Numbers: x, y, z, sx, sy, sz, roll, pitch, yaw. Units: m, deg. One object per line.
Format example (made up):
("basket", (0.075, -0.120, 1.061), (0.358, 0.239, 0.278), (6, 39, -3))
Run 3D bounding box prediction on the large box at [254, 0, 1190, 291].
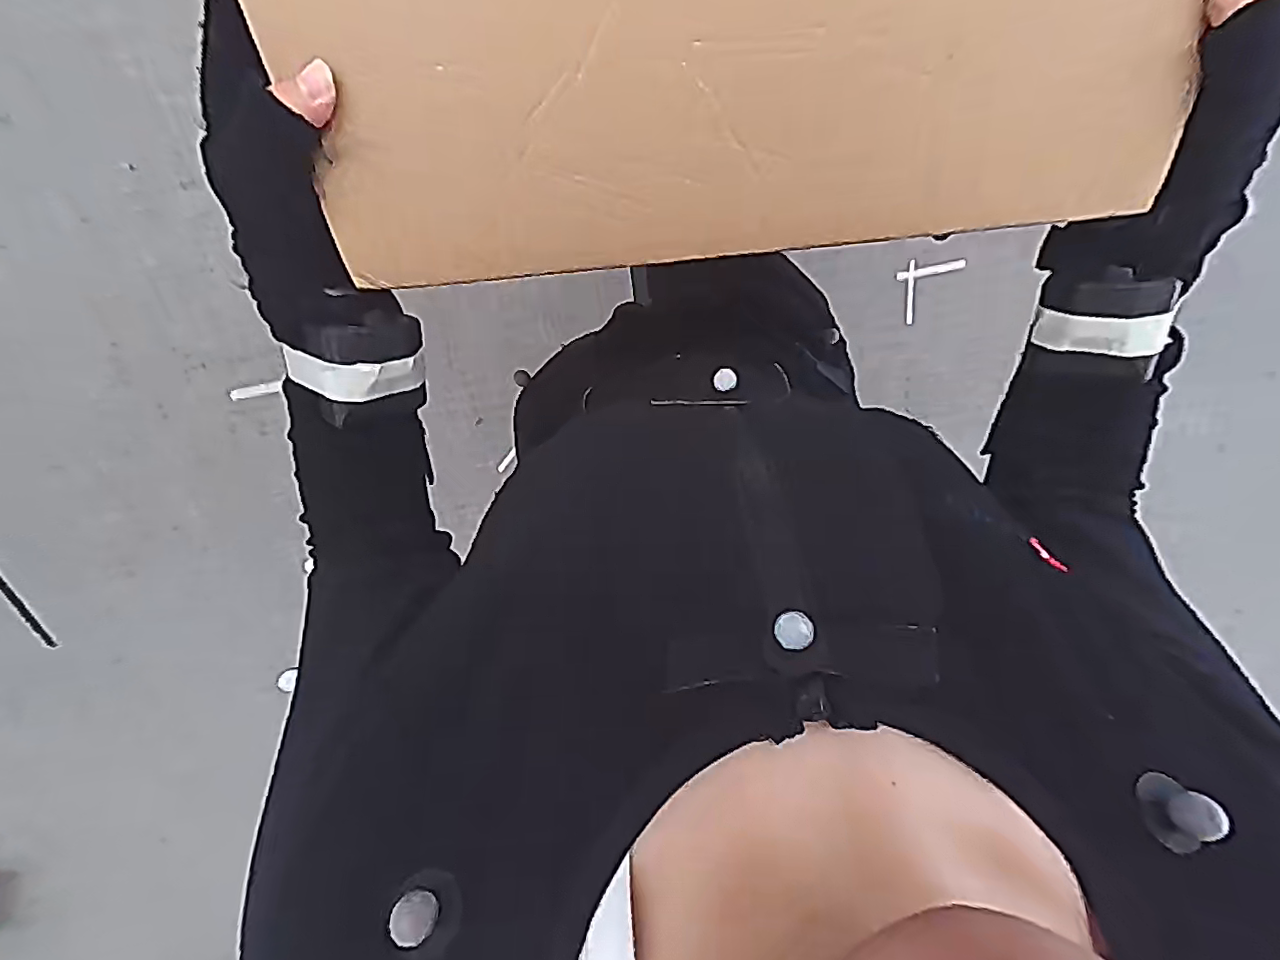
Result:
("large box", (0.032, -0.333, 0.320), (0.408, 0.320, 0.320), (-5, 125, 3))
